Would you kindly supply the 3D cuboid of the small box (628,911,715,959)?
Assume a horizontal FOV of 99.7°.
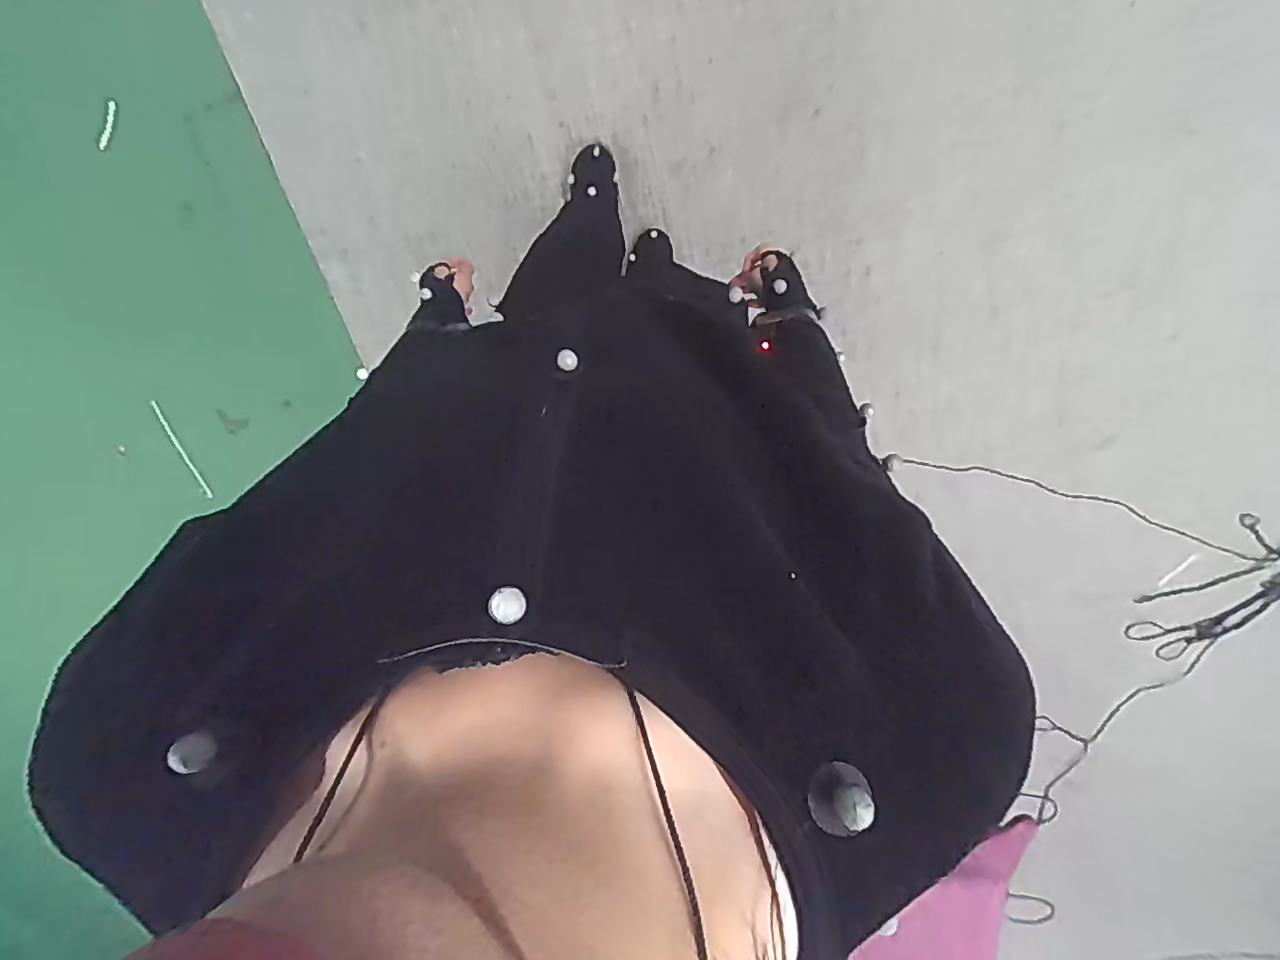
[{"bbox_3d":[0.076,1.115,1.217,0.168,0.176,0.179,-16,114,9],"label":"small box"}]
